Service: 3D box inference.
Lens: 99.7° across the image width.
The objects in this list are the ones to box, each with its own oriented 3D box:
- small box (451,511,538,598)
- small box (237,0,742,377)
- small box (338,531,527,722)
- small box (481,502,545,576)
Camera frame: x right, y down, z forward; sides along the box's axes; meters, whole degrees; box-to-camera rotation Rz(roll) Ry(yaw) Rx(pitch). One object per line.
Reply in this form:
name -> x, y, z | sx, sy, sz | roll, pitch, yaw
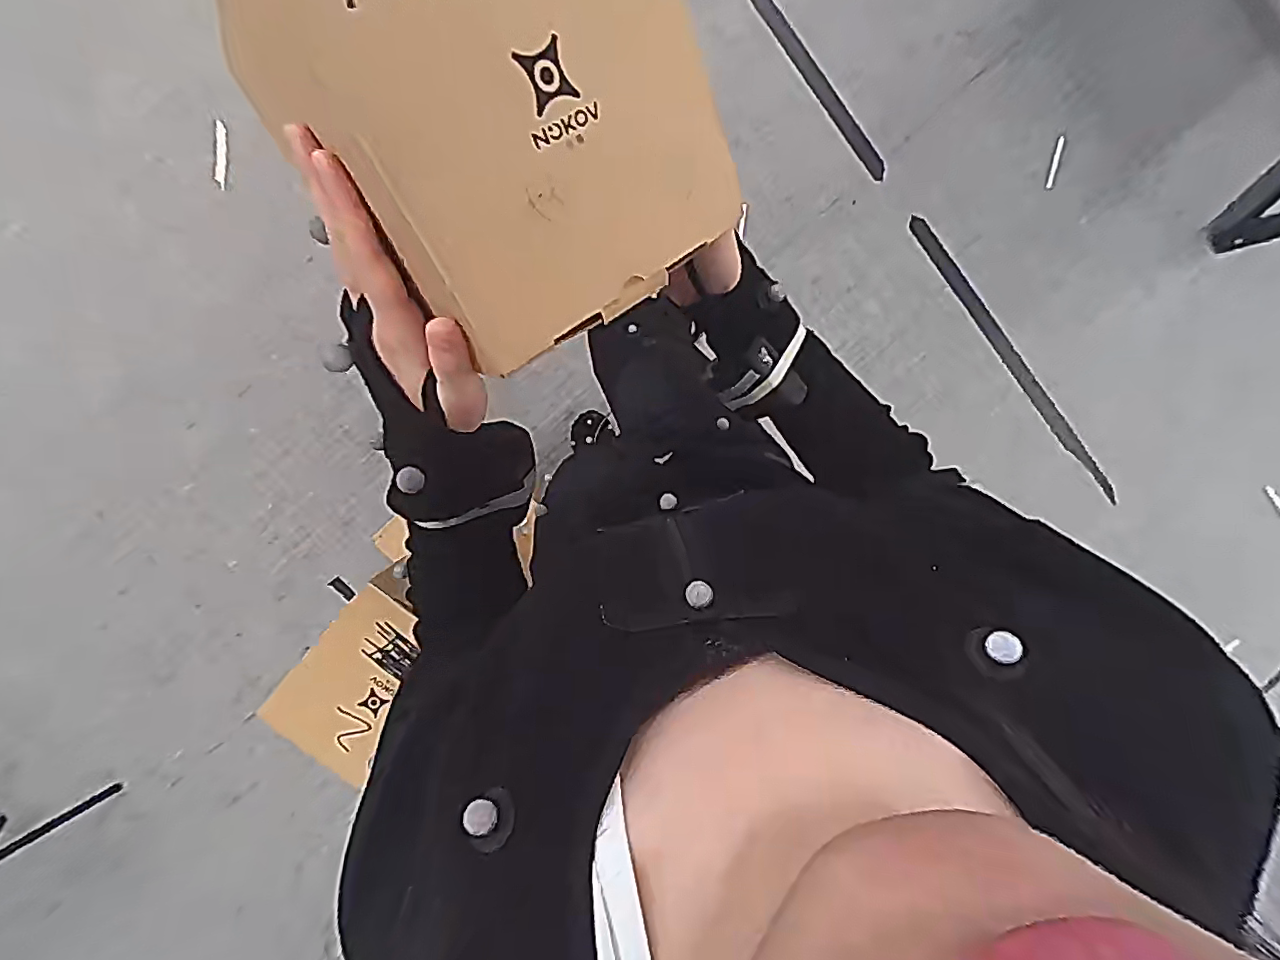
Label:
small box -> -0.294, 0.174, 0.941 | 0.168, 0.176, 0.179 | 45, 91, -6
small box -> -0.078, -0.182, 0.296 | 0.168, 0.176, 0.179 | -39, 125, -18
small box -> -0.279, 0.195, 0.779 | 0.168, 0.176, 0.179 | 41, 91, -6
small box -> -0.309, 0.166, 1.103 | 0.179, 0.176, 0.168 | -44, 98, -1
